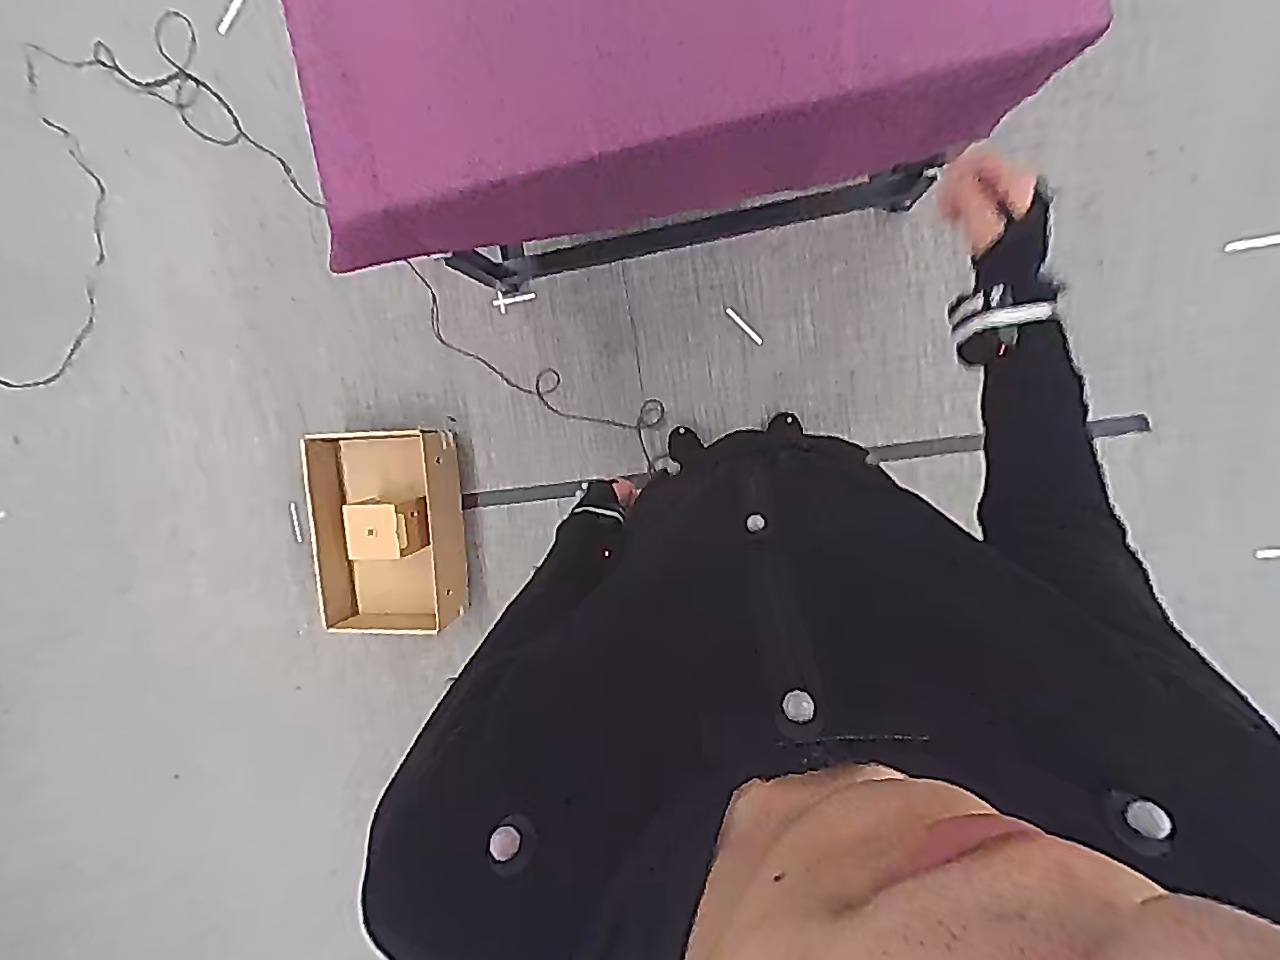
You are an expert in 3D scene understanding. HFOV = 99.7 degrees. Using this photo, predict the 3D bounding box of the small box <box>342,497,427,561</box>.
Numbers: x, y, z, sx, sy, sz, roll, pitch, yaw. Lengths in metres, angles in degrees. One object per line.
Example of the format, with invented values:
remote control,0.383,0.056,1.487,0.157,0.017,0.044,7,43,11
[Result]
small box,-0.776,0.147,1.664,0.179,0.176,0.168,-2,96,9
